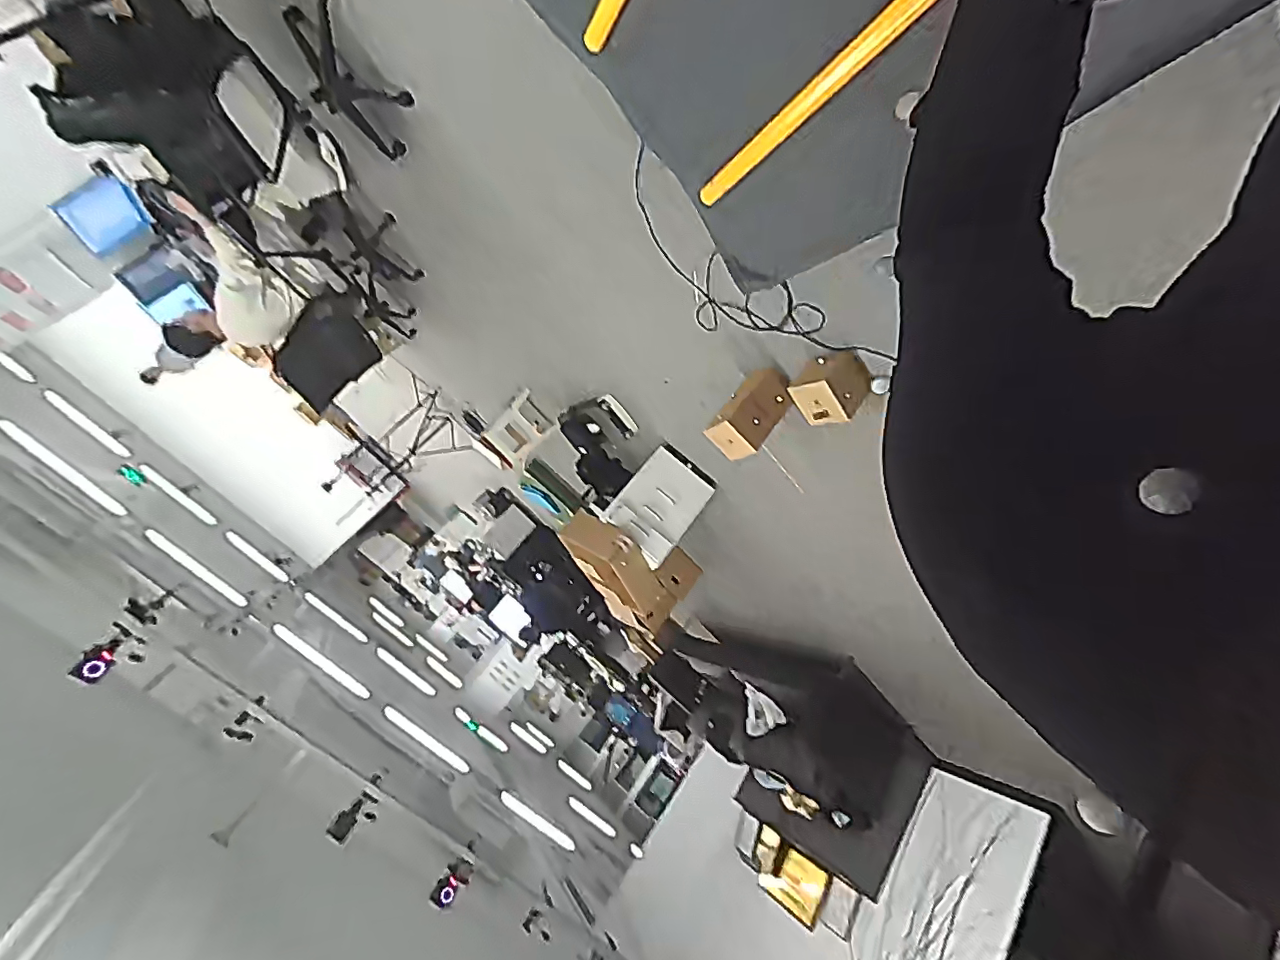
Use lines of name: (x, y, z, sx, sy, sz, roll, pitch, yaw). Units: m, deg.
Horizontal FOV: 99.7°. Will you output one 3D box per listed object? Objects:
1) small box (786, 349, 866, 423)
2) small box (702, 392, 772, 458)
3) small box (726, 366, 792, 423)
small box: (0.646, -0.322, 1.865, 0.179, 0.176, 0.168, 49, 156, -21)
small box: (0.377, -0.211, 2.060, 0.168, 0.176, 0.179, 44, 158, -12)
small box: (0.473, -0.324, 2.131, 0.168, 0.176, 0.179, 45, 158, -14)
